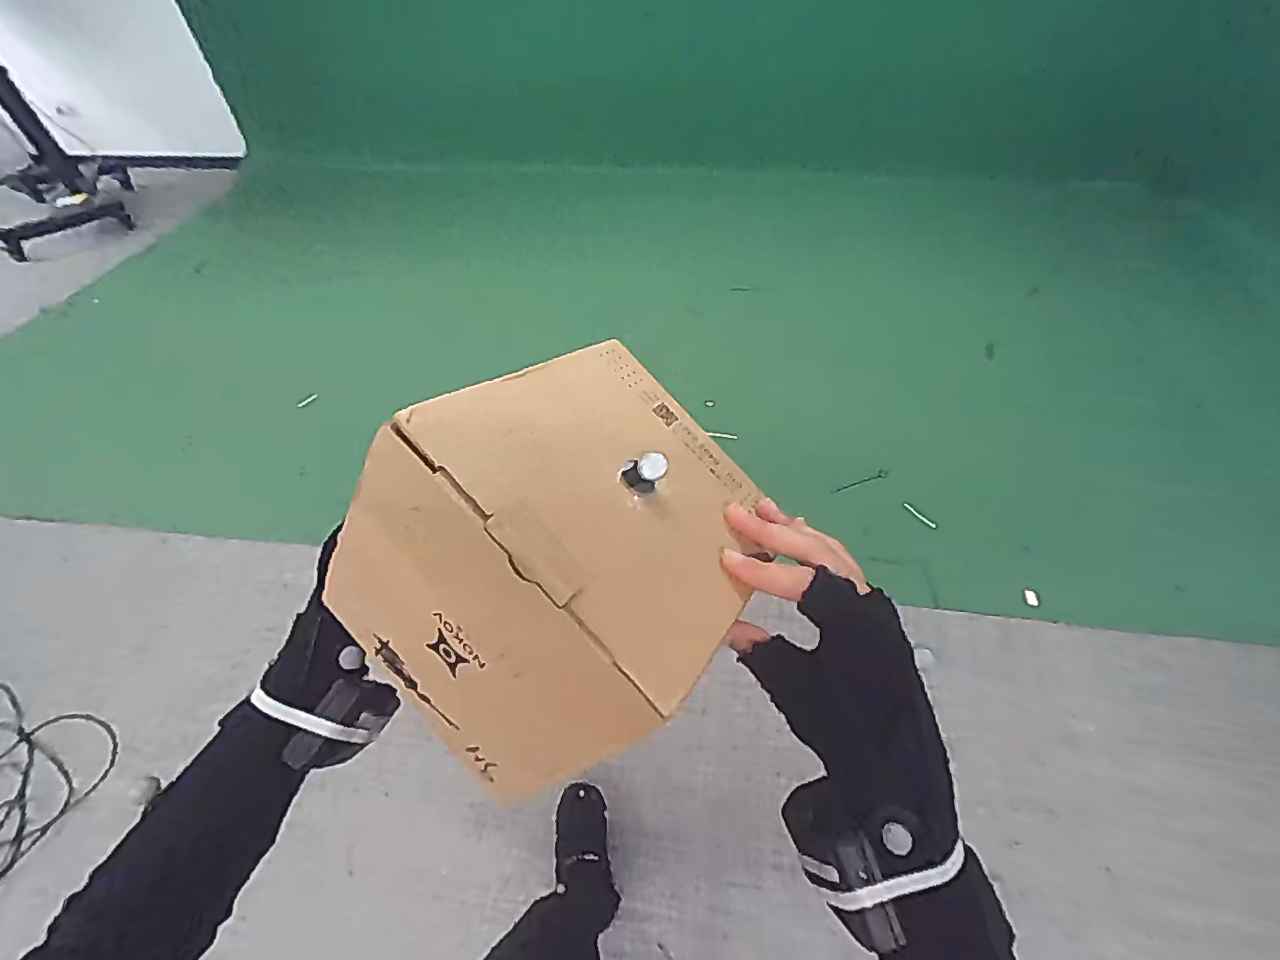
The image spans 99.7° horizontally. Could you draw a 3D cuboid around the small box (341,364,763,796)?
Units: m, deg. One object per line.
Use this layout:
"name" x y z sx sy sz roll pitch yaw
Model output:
"small box" -0.045 0.051 0.341 0.168 0.179 0.176 48 38 6
